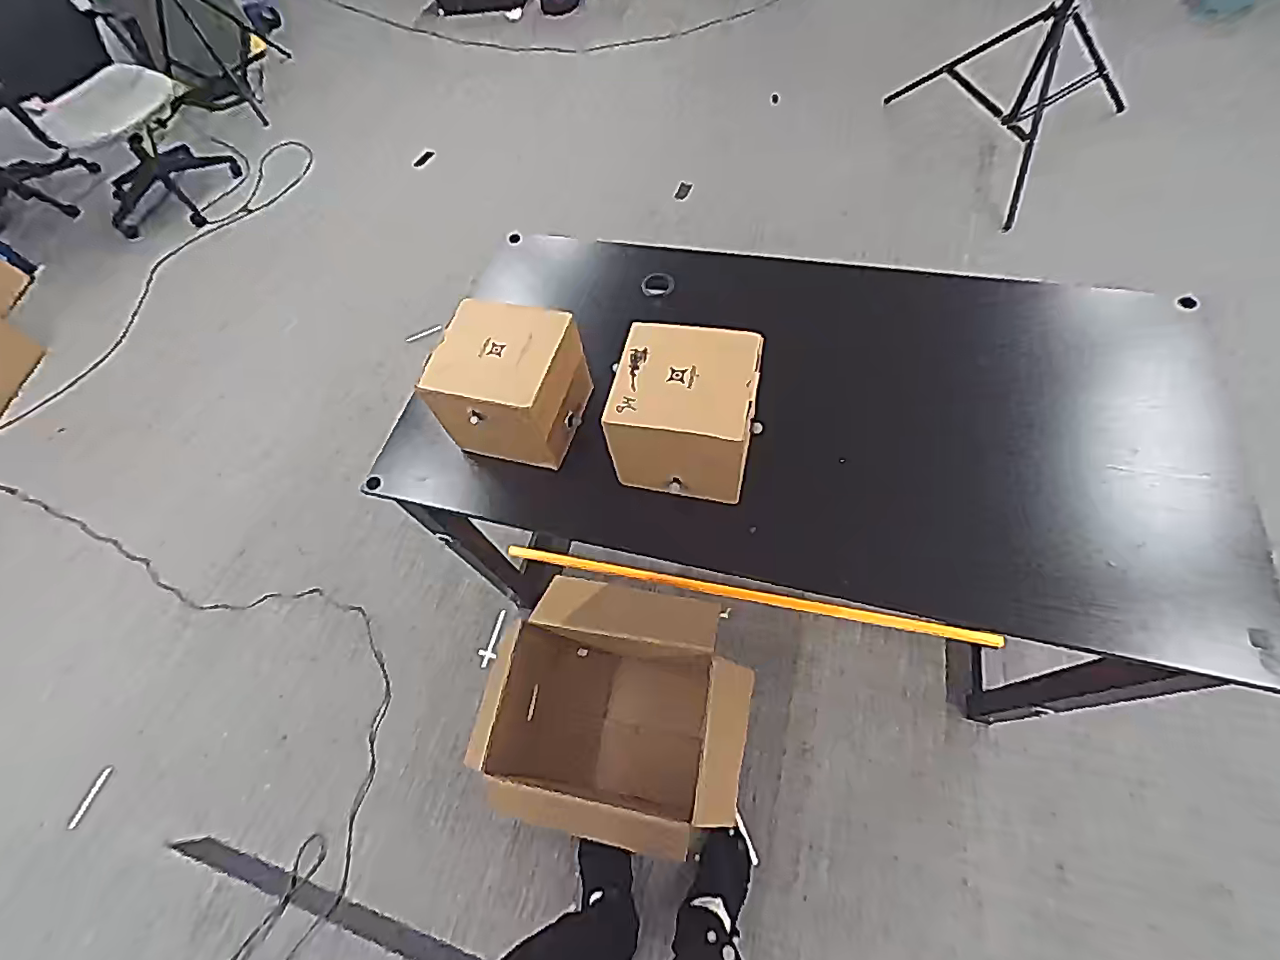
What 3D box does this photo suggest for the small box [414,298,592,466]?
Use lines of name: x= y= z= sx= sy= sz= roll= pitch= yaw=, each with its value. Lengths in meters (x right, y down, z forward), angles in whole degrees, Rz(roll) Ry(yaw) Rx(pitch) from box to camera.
small box: x=-0.187 y=-0.138 z=0.797 sx=0.179 sy=0.176 sz=0.168 roll=13 pitch=65 yaw=12

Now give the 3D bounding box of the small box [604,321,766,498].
small box: x=0.066 y=-0.090 z=0.741 sx=0.179 sy=0.176 sz=0.168 roll=10 pitch=63 yaw=11
